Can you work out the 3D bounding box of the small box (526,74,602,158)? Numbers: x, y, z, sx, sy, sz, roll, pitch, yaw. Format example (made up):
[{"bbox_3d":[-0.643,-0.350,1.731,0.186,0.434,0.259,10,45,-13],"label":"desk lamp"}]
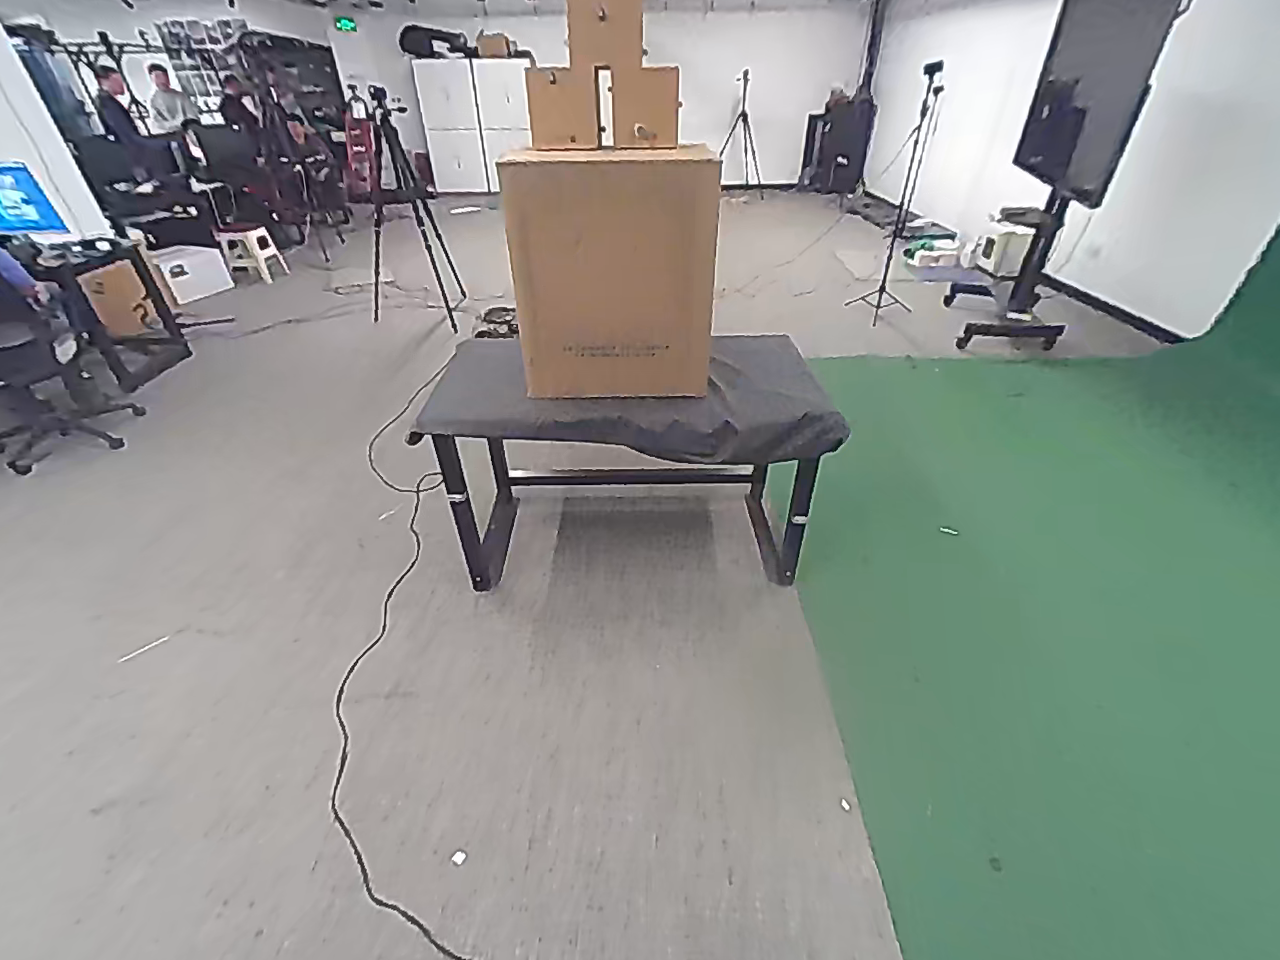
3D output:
[{"bbox_3d":[-0.188,-0.933,1.393,0.168,0.176,0.179,-1,34,1],"label":"small box"}]

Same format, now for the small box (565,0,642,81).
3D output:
[{"bbox_3d":[-0.084,-1.077,1.313,0.179,0.176,0.168,-1,34,-1],"label":"small box"}]
